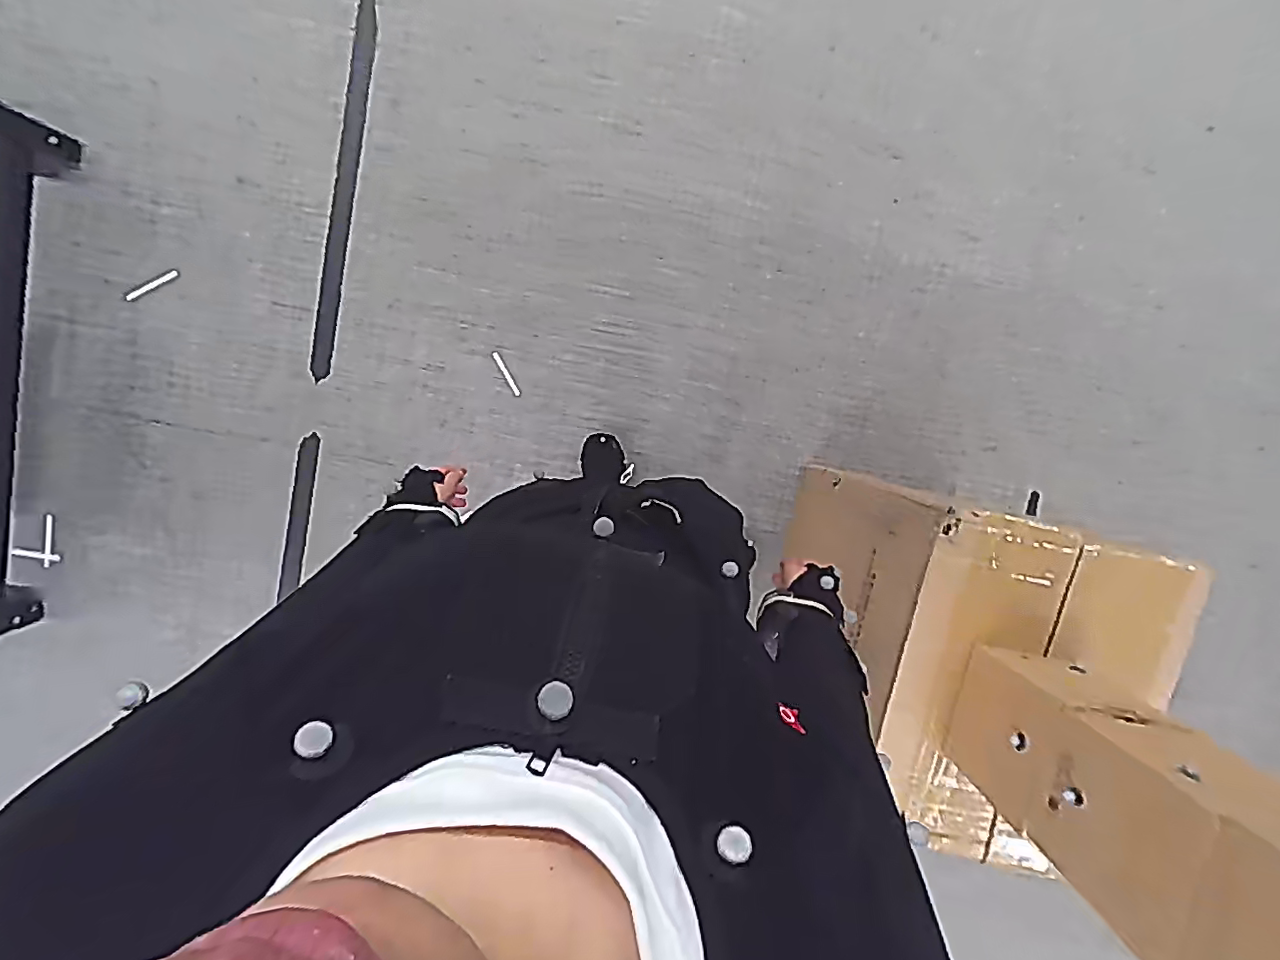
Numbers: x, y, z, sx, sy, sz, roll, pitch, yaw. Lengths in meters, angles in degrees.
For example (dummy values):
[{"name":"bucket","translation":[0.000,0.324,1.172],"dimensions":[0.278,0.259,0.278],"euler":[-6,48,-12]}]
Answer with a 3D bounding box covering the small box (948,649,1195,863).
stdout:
[{"name":"small box","translation":[0.544,0.346,0.710],"dimensions":[0.168,0.176,0.179],"euler":[12,97,-2]}]
